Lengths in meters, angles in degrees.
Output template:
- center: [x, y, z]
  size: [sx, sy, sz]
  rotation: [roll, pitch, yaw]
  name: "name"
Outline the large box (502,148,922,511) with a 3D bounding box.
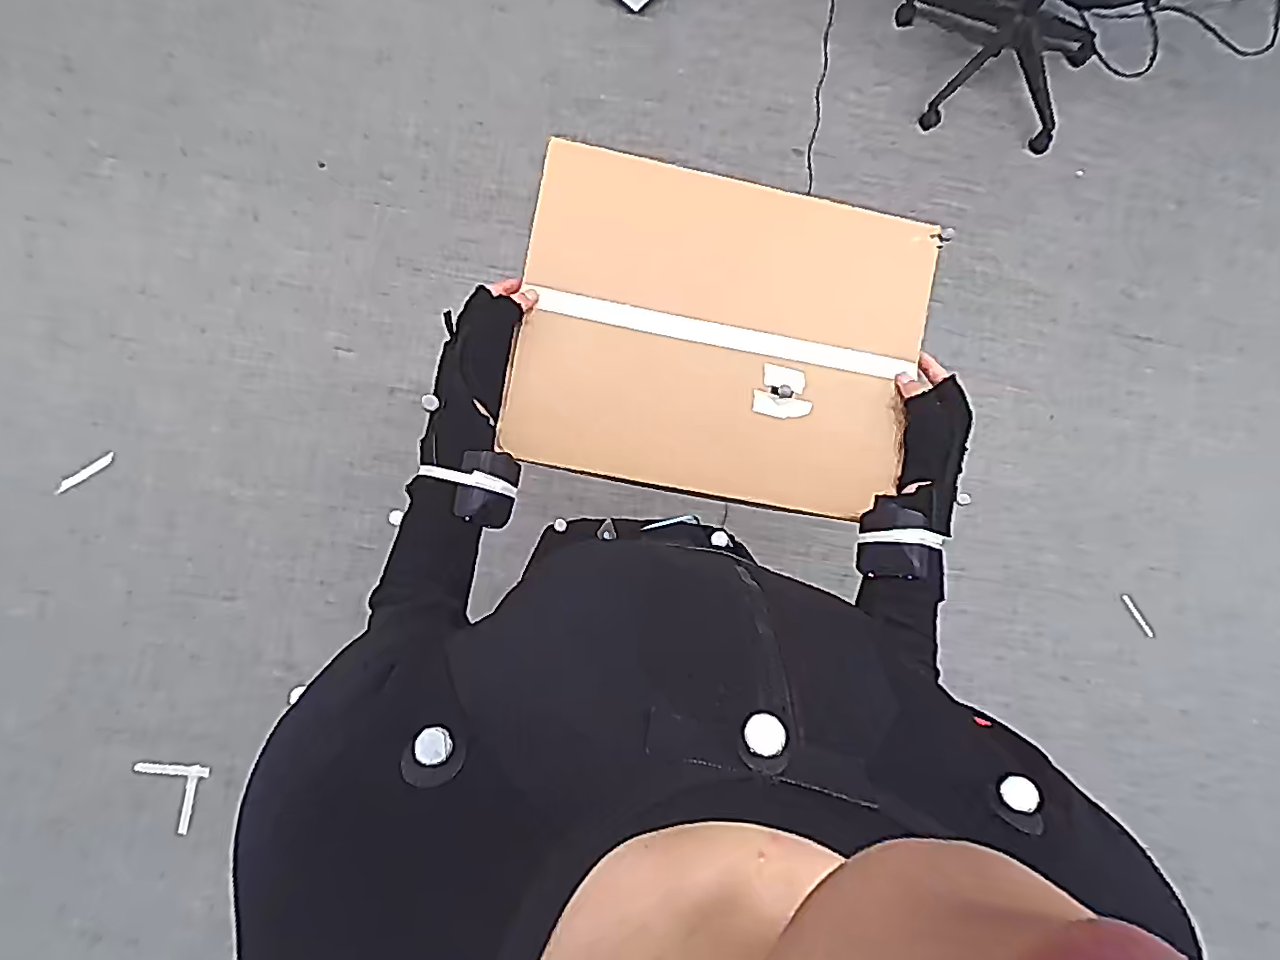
- center: [0.064, -0.148, 0.697]
  size: [0.408, 0.320, 0.320]
  rotation: [10, 90, -6]
  name: "large box"
